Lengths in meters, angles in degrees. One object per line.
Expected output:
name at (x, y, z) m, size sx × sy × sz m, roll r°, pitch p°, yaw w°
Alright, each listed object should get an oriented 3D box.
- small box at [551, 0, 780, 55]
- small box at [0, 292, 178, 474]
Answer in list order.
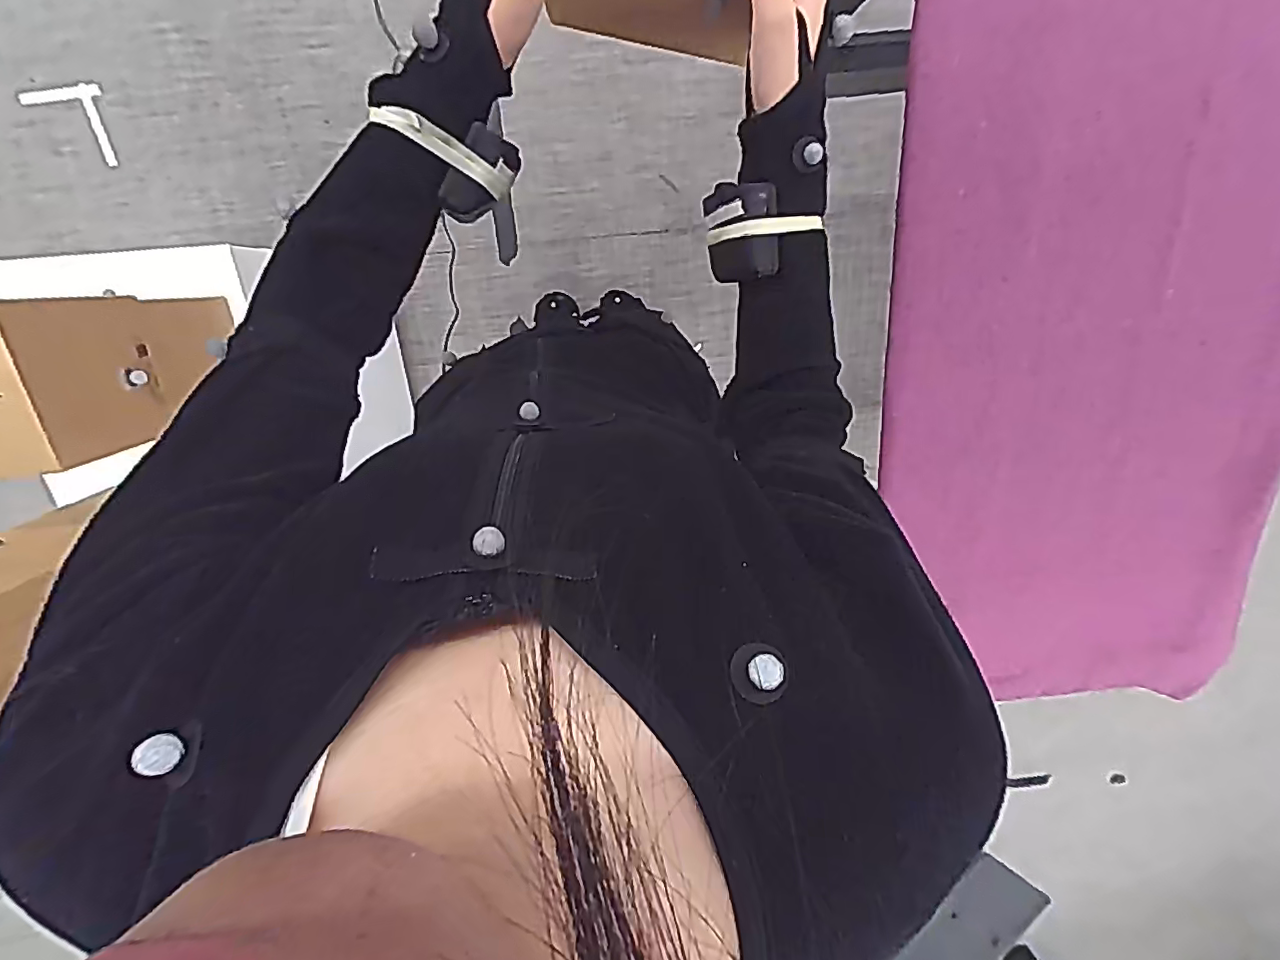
small box at (0.026, -0.418, 0.357) m, size 0.179 × 0.176 × 0.168 m, roll 10°, pitch 111°, yaw -4°
small box at (-0.659, -0.109, 0.573) m, size 0.179 × 0.176 × 0.168 m, roll -3°, pitch 111°, yaw -3°
